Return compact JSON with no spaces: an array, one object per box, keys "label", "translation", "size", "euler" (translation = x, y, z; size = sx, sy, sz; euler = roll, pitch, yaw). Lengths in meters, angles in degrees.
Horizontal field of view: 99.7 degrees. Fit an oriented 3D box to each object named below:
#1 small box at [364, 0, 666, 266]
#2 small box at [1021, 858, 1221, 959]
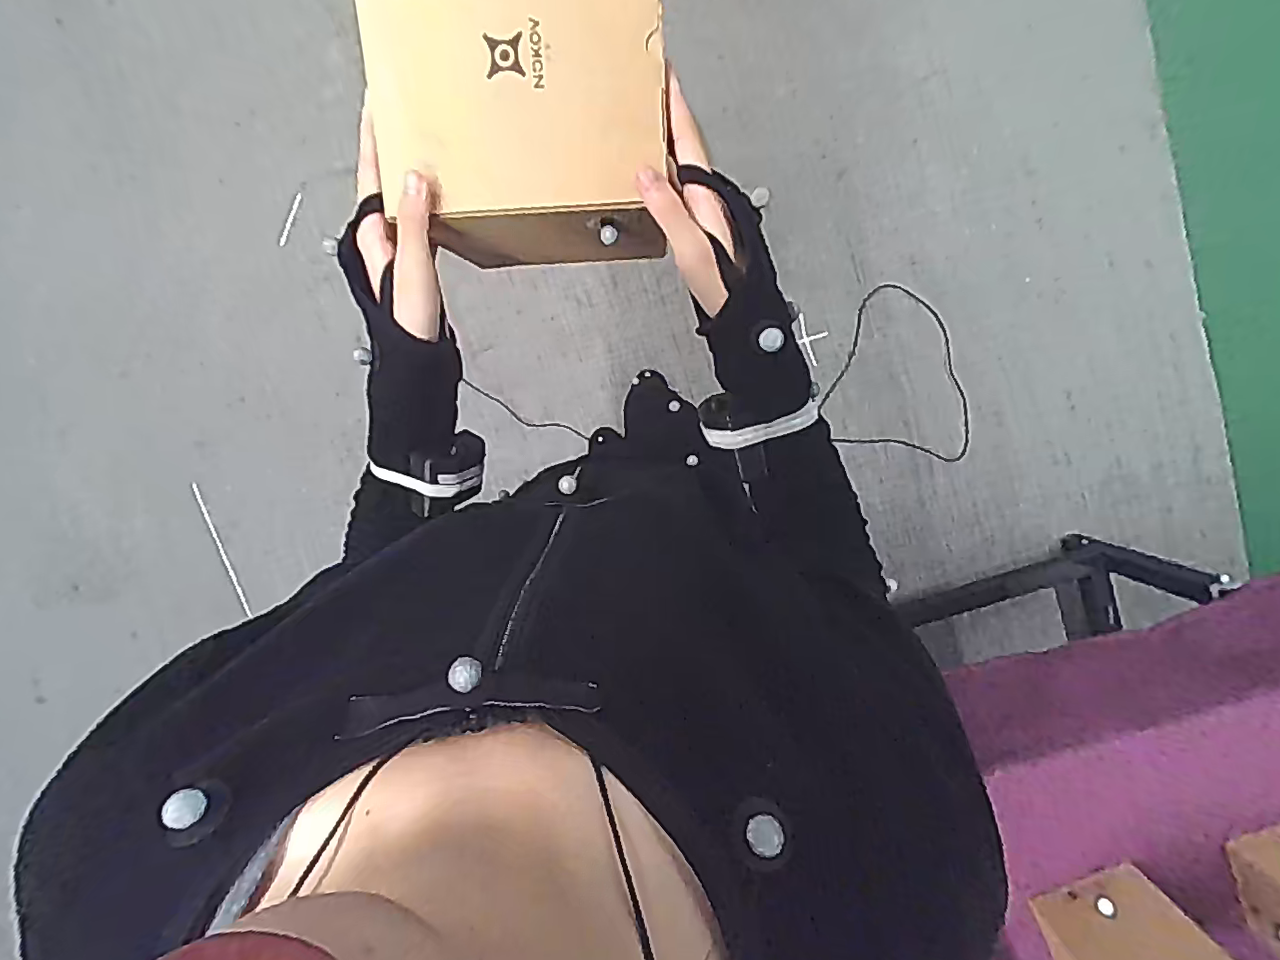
[{"label":"small box","translation":[-0.070,-0.259,0.396],"size":[0.179,0.176,0.168],"euler":[-2,102,2]},{"label":"small box","translation":[0.705,0.705,0.780],"size":[0.168,0.176,0.179],"euler":[-25,96,4]}]
